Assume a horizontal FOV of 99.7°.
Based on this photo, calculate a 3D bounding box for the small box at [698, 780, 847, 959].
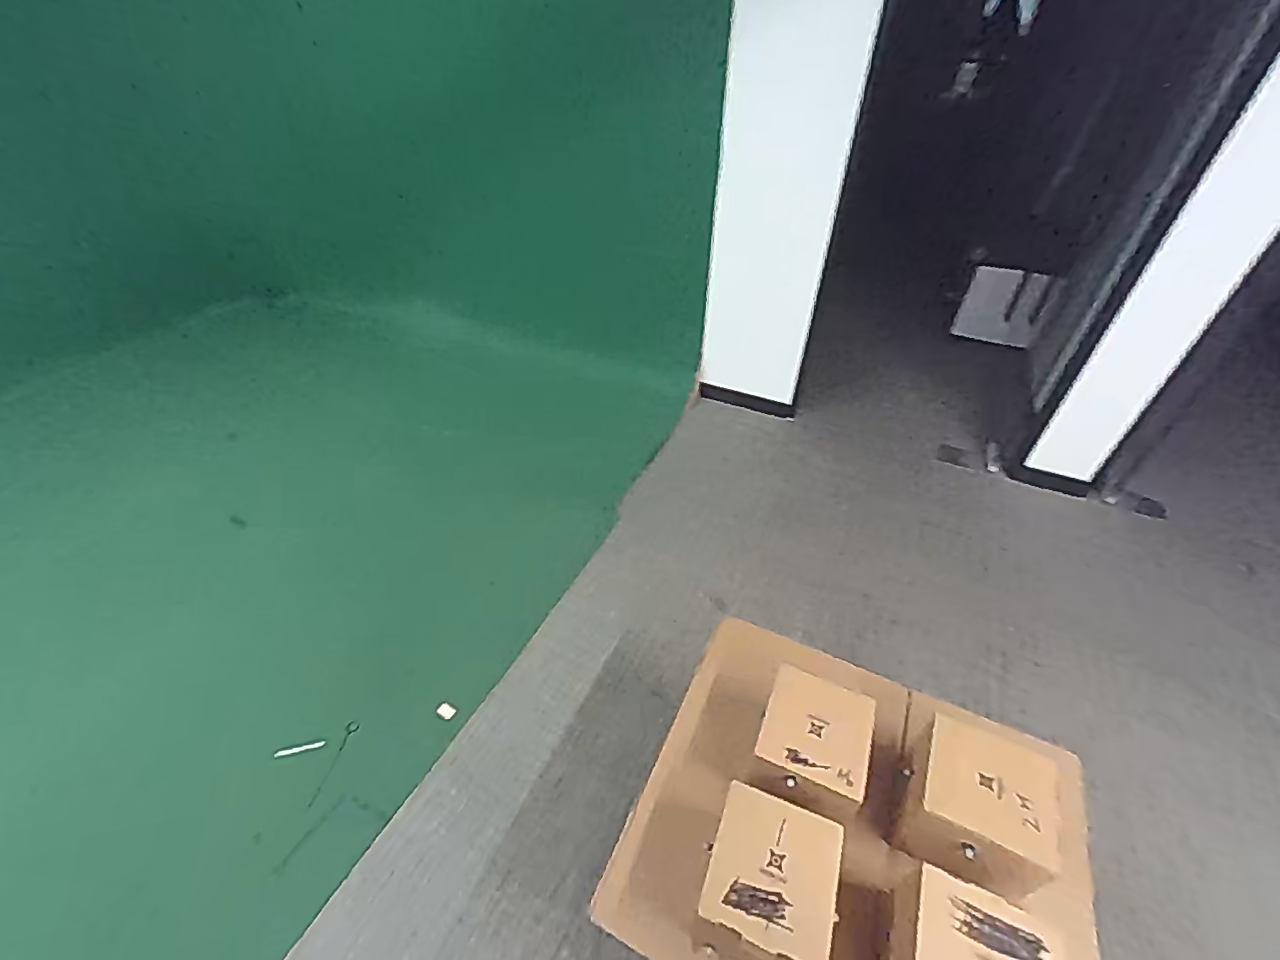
[{"bbox_3d":[0.186,0.580,0.777,0.168,0.176,0.179,15,43,17],"label":"small box"}]

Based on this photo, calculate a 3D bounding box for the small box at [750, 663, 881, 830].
[{"bbox_3d":[0.292,0.454,0.917,0.168,0.176,0.179,16,43,20],"label":"small box"}]
